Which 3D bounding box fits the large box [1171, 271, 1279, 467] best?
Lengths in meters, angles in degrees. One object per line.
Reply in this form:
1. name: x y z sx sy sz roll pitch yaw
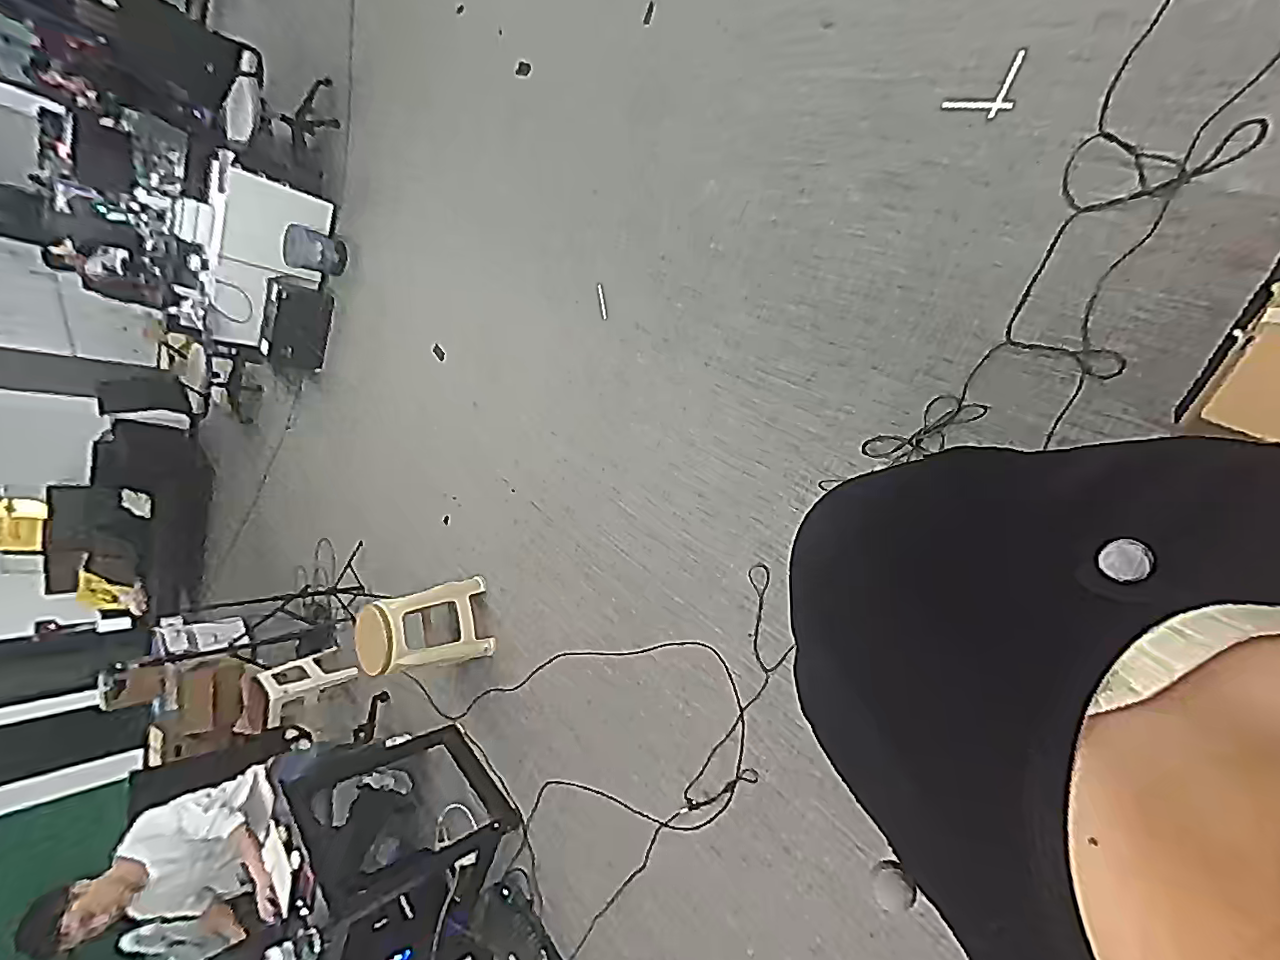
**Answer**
1. large box: 1.084 -0.138 0.739 0.408 0.320 0.320 35 112 34
